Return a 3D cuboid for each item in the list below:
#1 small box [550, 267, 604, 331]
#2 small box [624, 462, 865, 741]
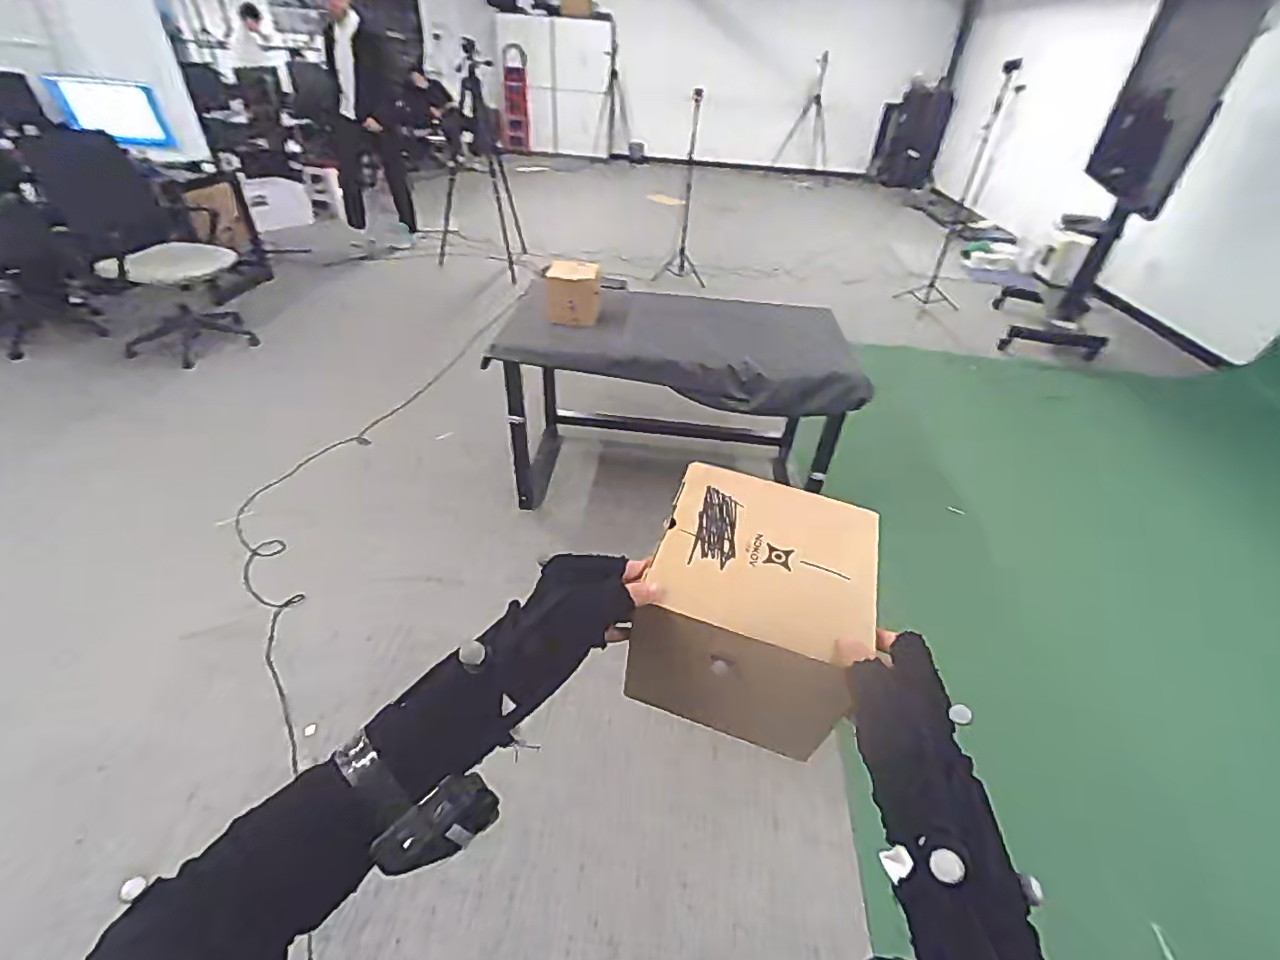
[{"bbox_3d":[-0.222,-0.648,1.941,0.168,0.176,0.179,5,38,2],"label":"small box"},{"bbox_3d":[0.091,0.114,0.504,0.179,0.176,0.168,16,46,10],"label":"small box"}]
